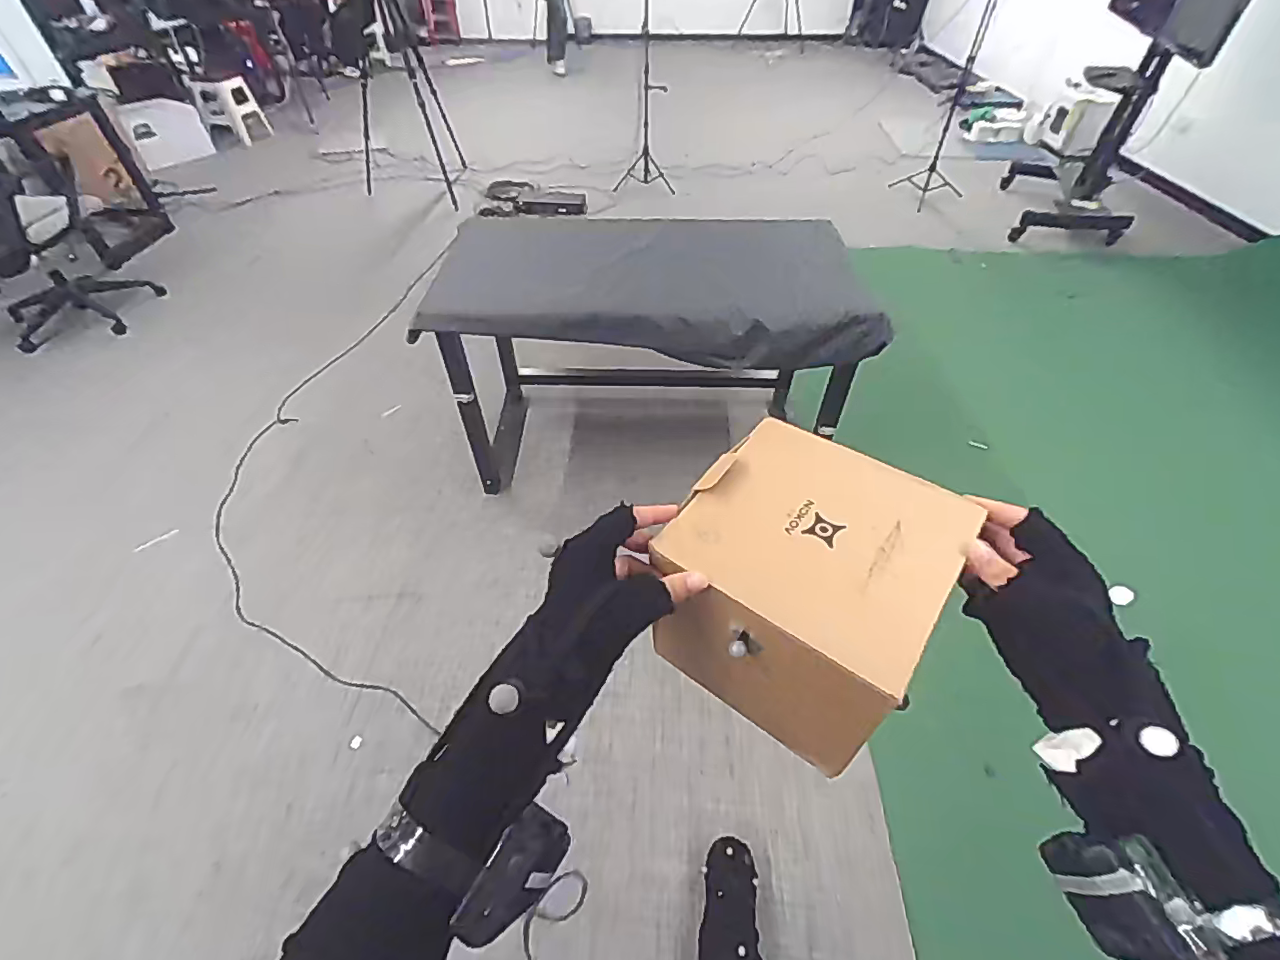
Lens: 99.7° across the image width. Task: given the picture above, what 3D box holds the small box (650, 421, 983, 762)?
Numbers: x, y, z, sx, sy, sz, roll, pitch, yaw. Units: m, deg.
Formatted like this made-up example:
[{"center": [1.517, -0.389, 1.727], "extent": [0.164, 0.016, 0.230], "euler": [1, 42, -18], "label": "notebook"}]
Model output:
[{"center": [0.126, 0.089, 0.432], "extent": [0.179, 0.176, 0.168], "euler": [29, 56, 26], "label": "small box"}]
